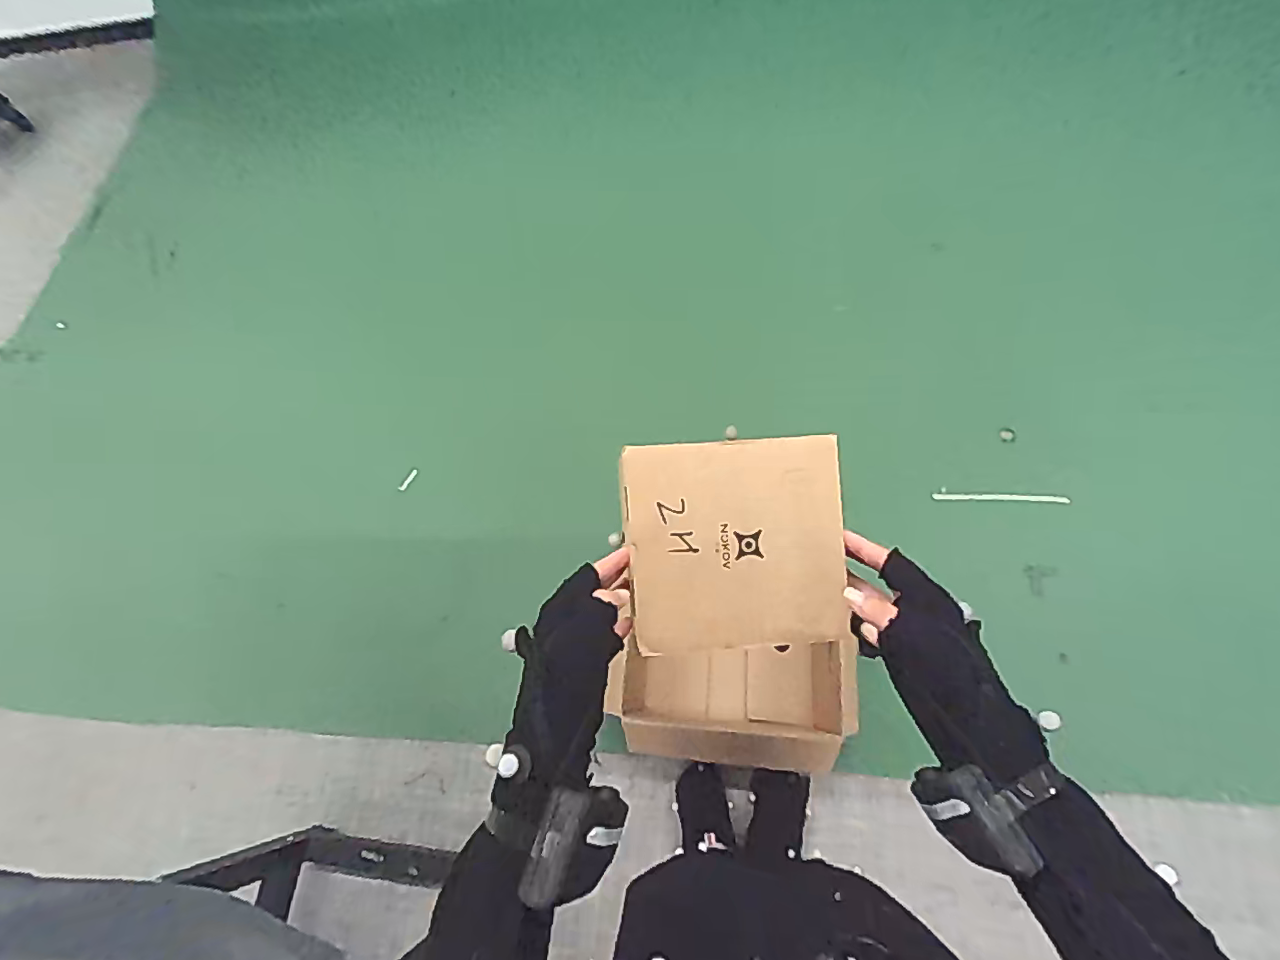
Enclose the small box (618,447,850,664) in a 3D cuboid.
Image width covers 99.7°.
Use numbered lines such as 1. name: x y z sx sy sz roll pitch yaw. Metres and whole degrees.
1. small box: 0.072 0.060 0.505 0.179 0.176 0.168 -4 87 -2
